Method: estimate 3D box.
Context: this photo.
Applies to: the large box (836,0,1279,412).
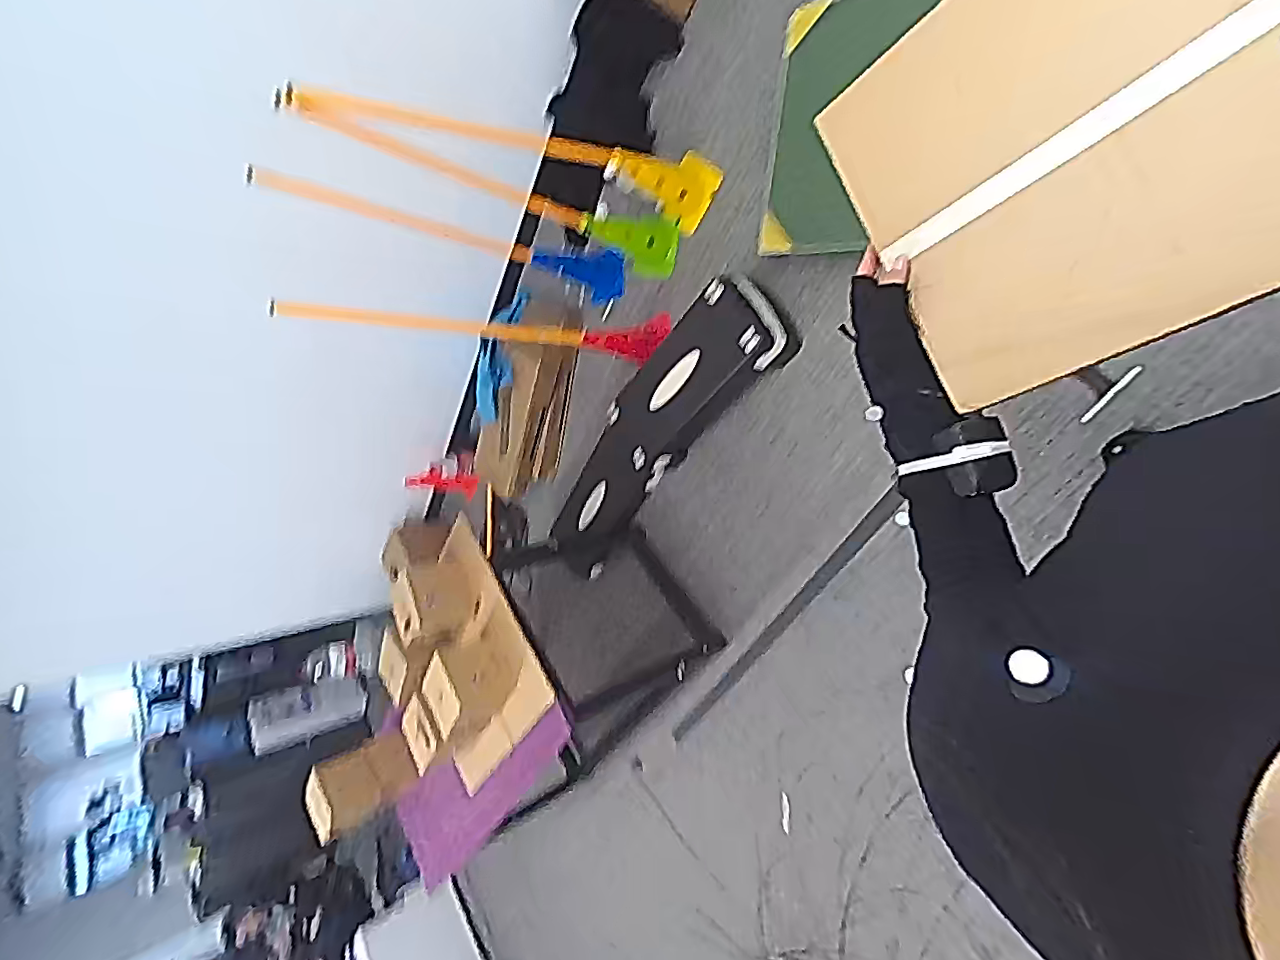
[{"bbox_3d":[0.467,-0.291,0.480,0.408,0.320,0.320,-28,82,42],"label":"large box"}]
